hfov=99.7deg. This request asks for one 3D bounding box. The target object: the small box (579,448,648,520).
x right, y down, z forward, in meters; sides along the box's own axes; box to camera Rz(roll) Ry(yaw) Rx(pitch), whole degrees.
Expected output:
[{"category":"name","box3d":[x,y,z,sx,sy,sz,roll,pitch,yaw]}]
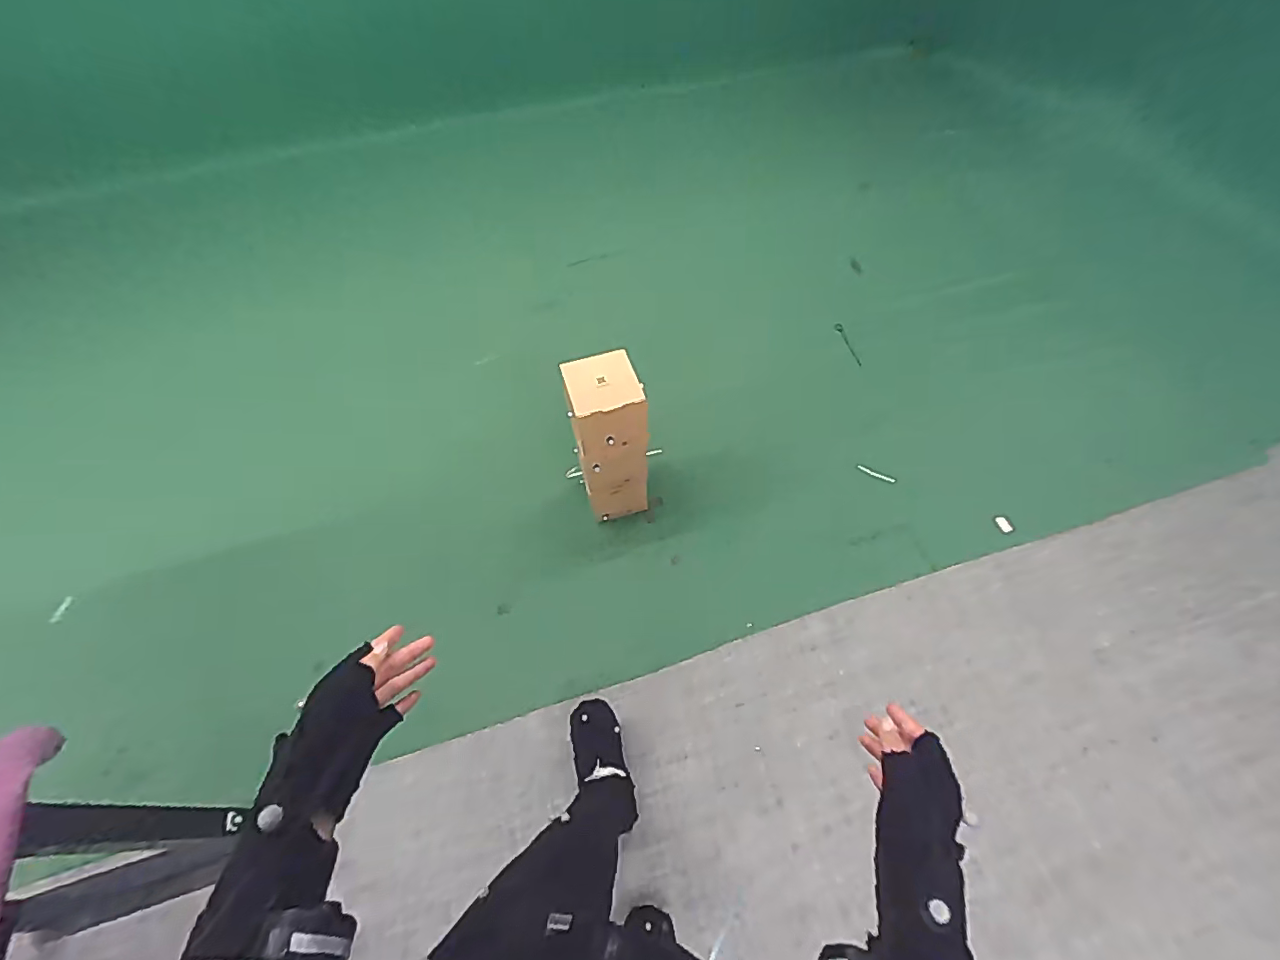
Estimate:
[{"category":"small box","box3d":[-0.076,0.003,1.605,0.168,0.176,0.179,-14,57,-7]}]

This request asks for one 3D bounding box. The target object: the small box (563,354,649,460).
[{"category":"small box","box3d":[-0.083,-0.177,1.332,0.168,0.176,0.179,-16,58,-9]}]
